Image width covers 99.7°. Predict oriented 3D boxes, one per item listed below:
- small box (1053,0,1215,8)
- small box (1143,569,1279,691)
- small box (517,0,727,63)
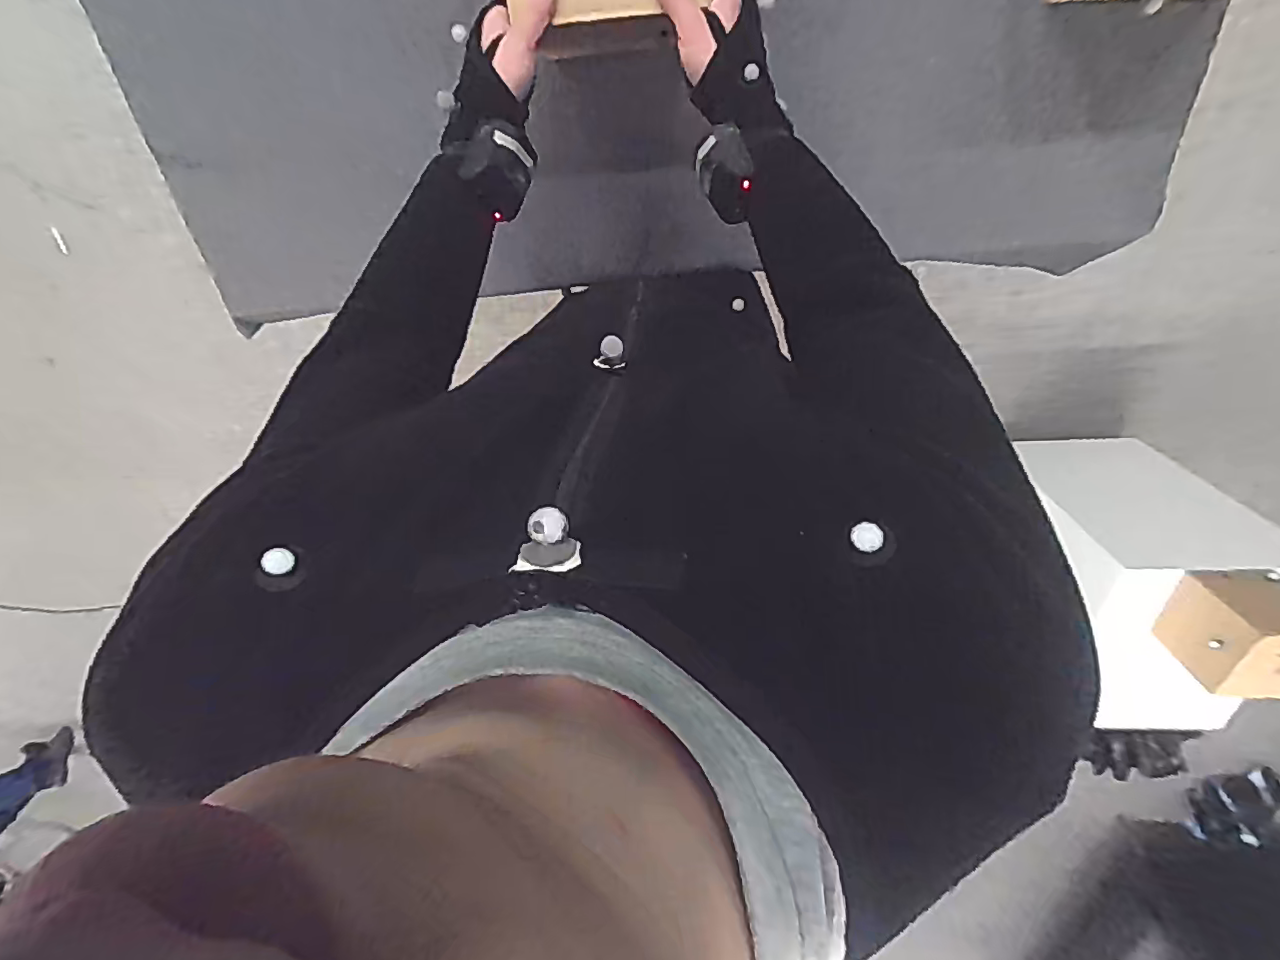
[{"bbox_3d":[0.498,-0.511,0.441,0.179,0.176,0.168,1,122,2],"label":"small box"},{"bbox_3d":[1.156,0.288,1.060,0.168,0.176,0.179,-1,124,4],"label":"small box"},{"bbox_3d":[-0.017,-0.492,0.480,0.179,0.176,0.168,-3,120,6],"label":"small box"}]
